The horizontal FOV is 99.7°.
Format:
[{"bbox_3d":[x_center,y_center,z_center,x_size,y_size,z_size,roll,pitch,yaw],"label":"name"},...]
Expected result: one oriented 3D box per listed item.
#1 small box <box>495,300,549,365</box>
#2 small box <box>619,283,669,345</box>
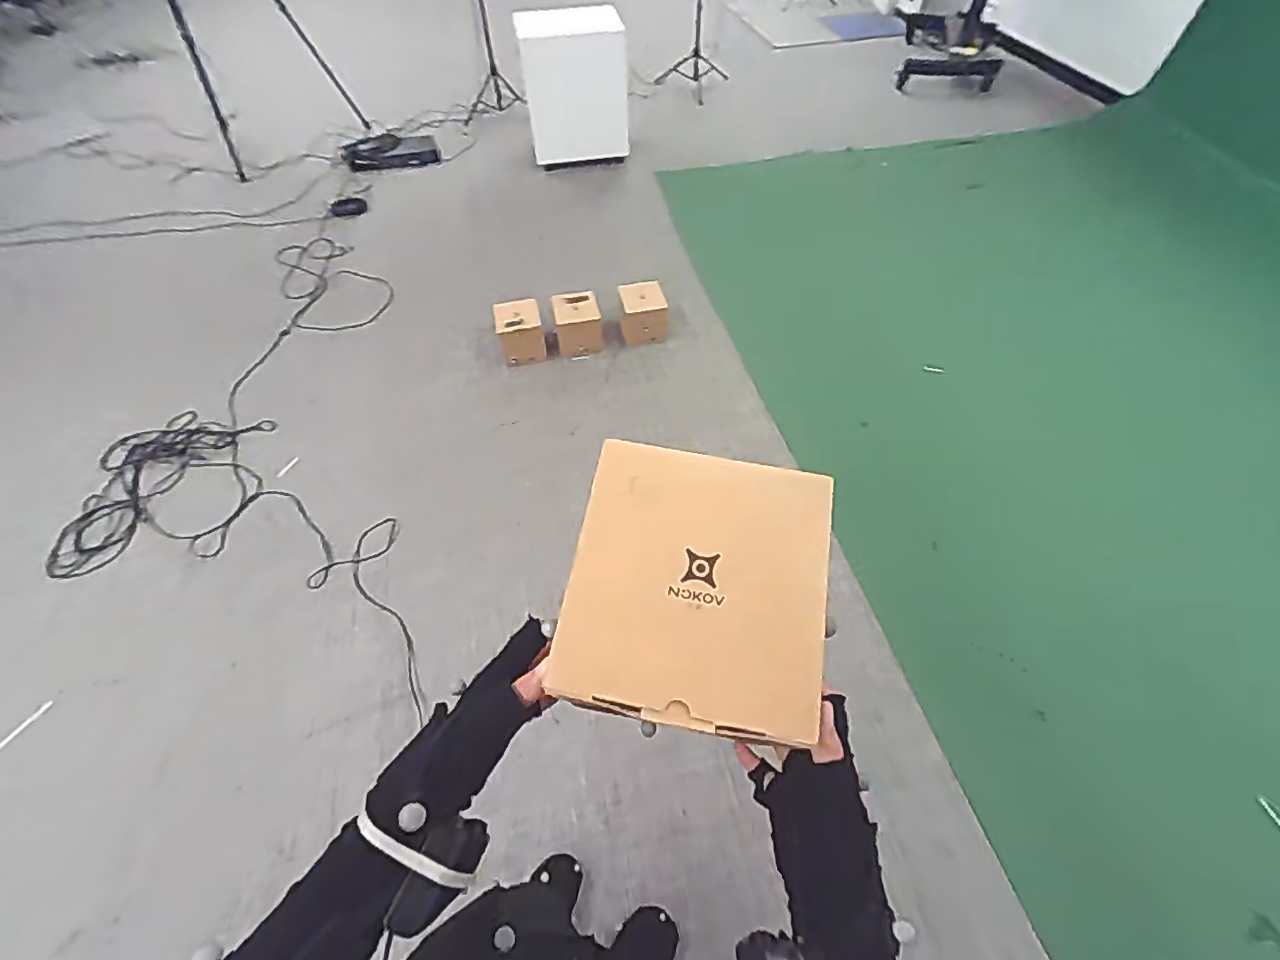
[{"bbox_3d":[-0.453,-0.563,2.094,0.168,0.176,0.179,-12,54,-7],"label":"small box"},{"bbox_3d":[0.015,-0.654,2.156,0.168,0.176,0.179,-11,55,-7],"label":"small box"}]
